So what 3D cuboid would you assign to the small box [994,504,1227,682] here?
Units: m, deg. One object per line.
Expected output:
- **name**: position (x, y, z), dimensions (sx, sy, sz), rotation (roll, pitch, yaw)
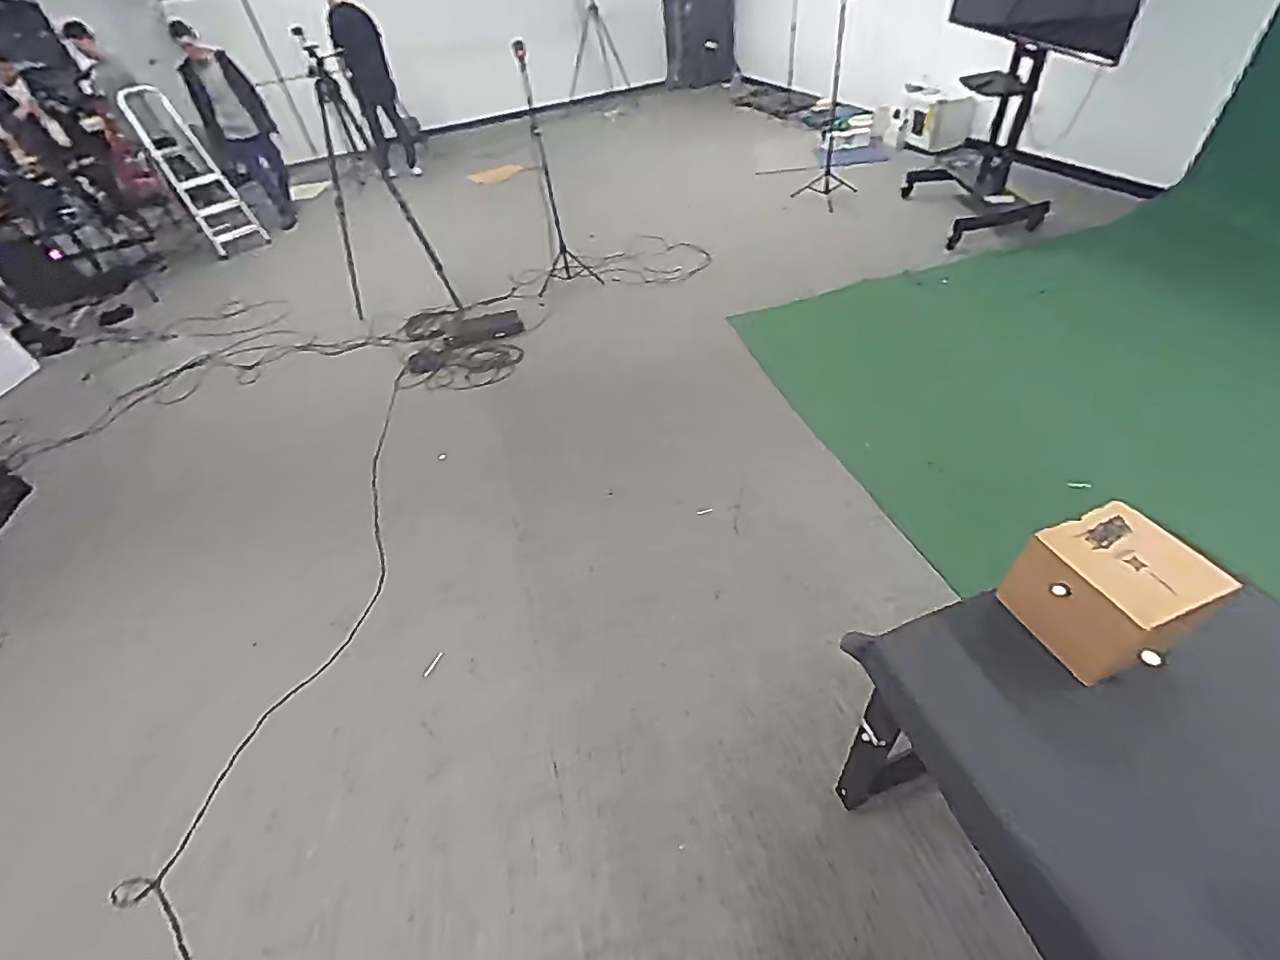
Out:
- **small box**: position (0.692, 0.172, 0.824), dimensions (0.168, 0.176, 0.179), rotation (-18, 45, -12)
